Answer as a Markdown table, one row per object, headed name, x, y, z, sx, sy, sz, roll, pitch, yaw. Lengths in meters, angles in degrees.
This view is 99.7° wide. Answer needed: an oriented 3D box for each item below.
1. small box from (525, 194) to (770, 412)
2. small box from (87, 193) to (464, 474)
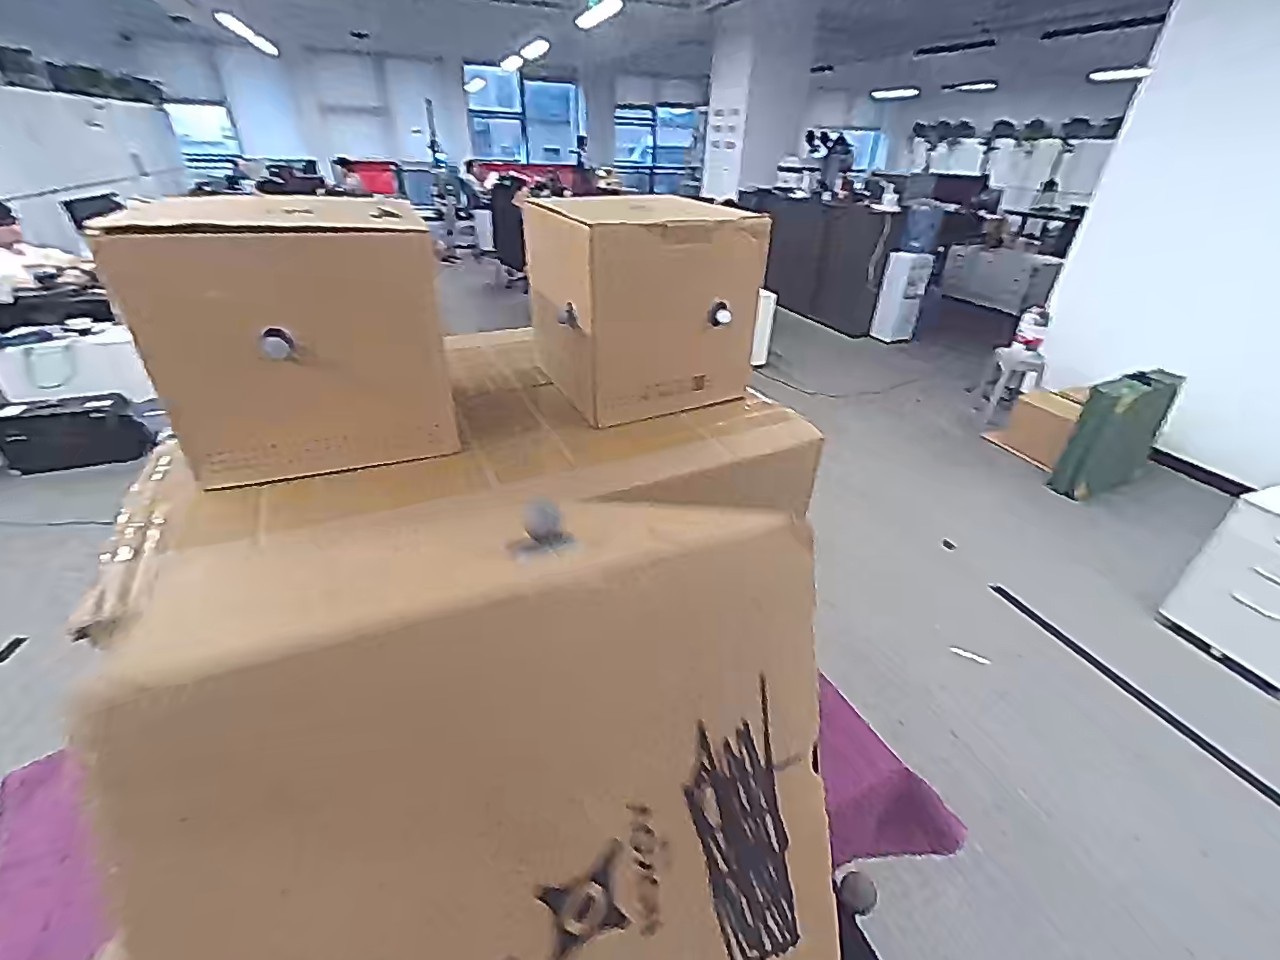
| name | x | y | z | sx | sy | sz | roll | pitch | yaw |
| --- | --- | --- | --- | --- | --- | --- | --- | --- | --- |
| small box | -0.001 | -0.174 | 0.523 | 0.168 | 0.176 | 0.179 | -14 | 35 | -24 |
| small box | -0.247 | -0.119 | 0.417 | 0.179 | 0.176 | 0.168 | -11 | 35 | -22 |
